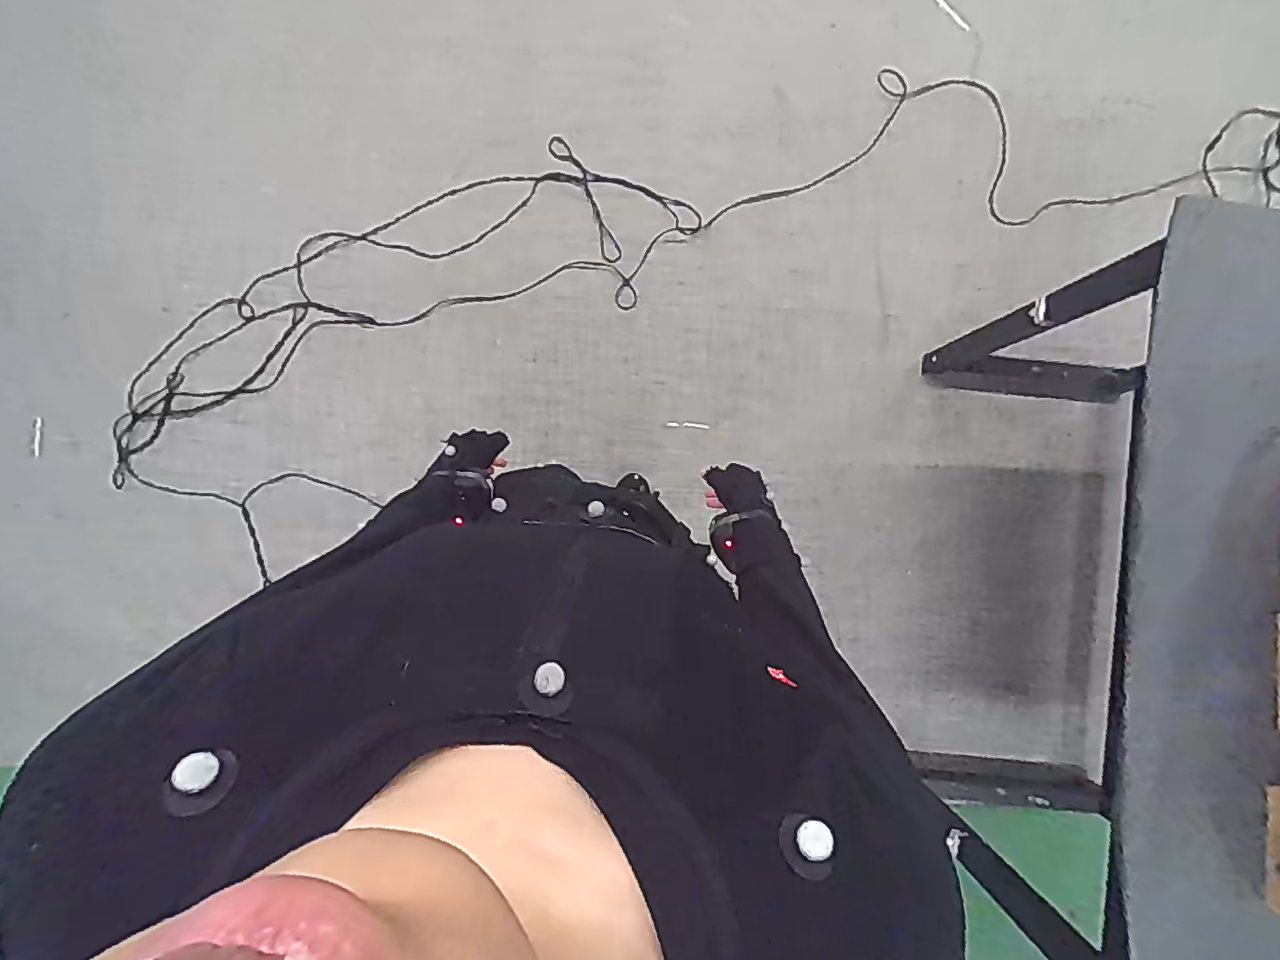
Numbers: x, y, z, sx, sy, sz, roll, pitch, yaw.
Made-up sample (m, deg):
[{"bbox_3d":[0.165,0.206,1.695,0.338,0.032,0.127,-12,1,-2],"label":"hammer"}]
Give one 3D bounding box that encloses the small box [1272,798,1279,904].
[{"bbox_3d":[0.963,0.506,0.666,0.179,0.176,0.168,4,87,-1],"label":"small box"}]
